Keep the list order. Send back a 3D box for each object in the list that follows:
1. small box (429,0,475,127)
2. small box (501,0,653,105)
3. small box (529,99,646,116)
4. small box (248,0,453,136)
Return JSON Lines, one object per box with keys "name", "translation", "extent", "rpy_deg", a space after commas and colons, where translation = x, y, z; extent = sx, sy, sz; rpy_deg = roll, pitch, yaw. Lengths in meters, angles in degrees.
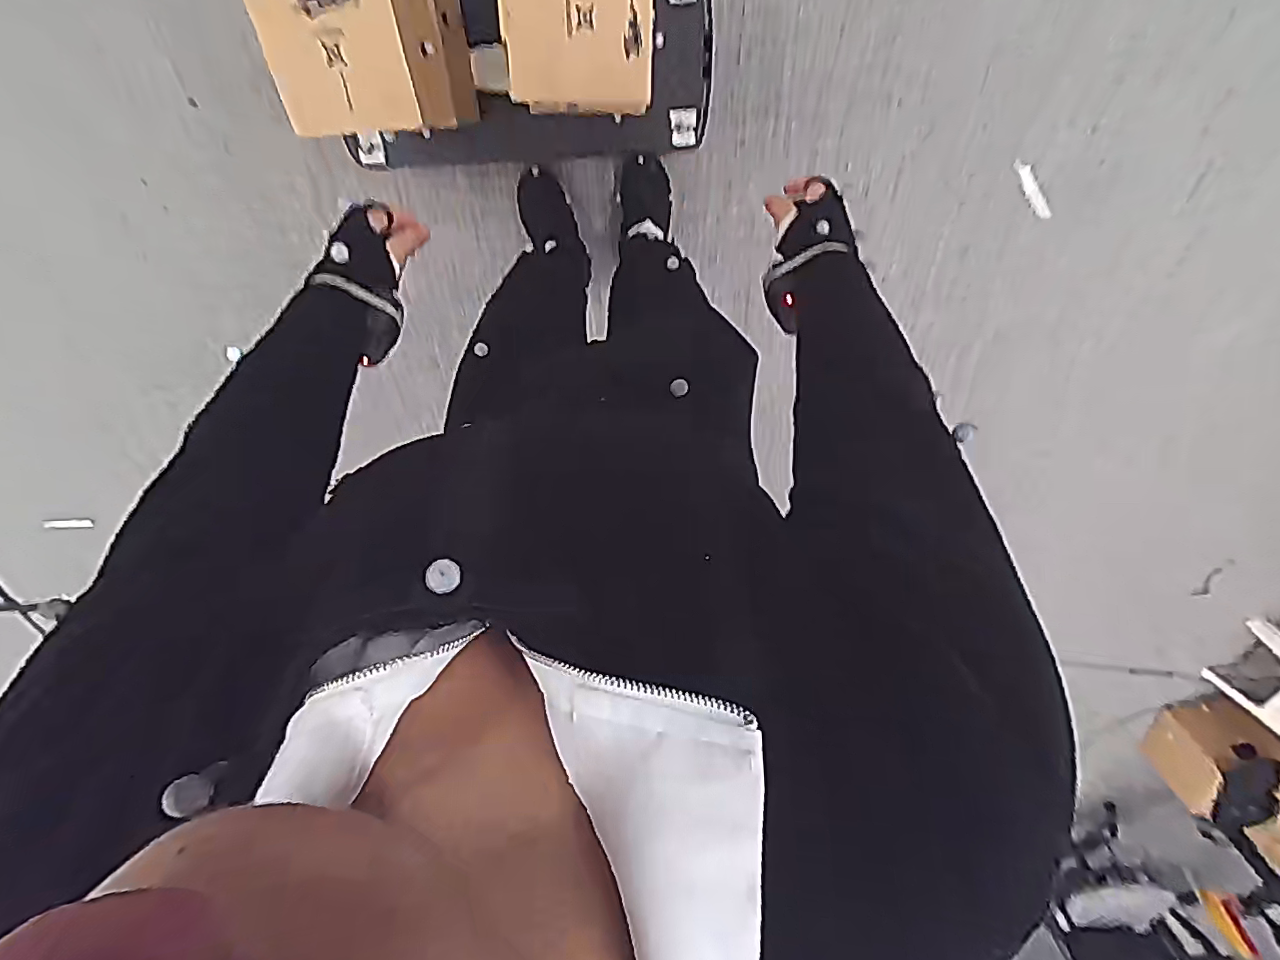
{"name": "small box", "translation": [-0.360, -0.647, 0.829], "extent": [0.168, 0.176, 0.179], "rpy_deg": [-3, 126, 0]}
{"name": "small box", "translation": [-0.073, -0.581, 0.687], "extent": [0.179, 0.176, 0.168], "rpy_deg": [1, 126, -1]}
{"name": "small box", "translation": [-0.079, -0.664, 0.830], "extent": [0.179, 0.176, 0.168], "rpy_deg": [0, 126, 1]}
{"name": "small box", "translation": [-0.358, -0.554, 0.694], "extent": [0.168, 0.176, 0.179], "rpy_deg": [-4, 127, 1]}
